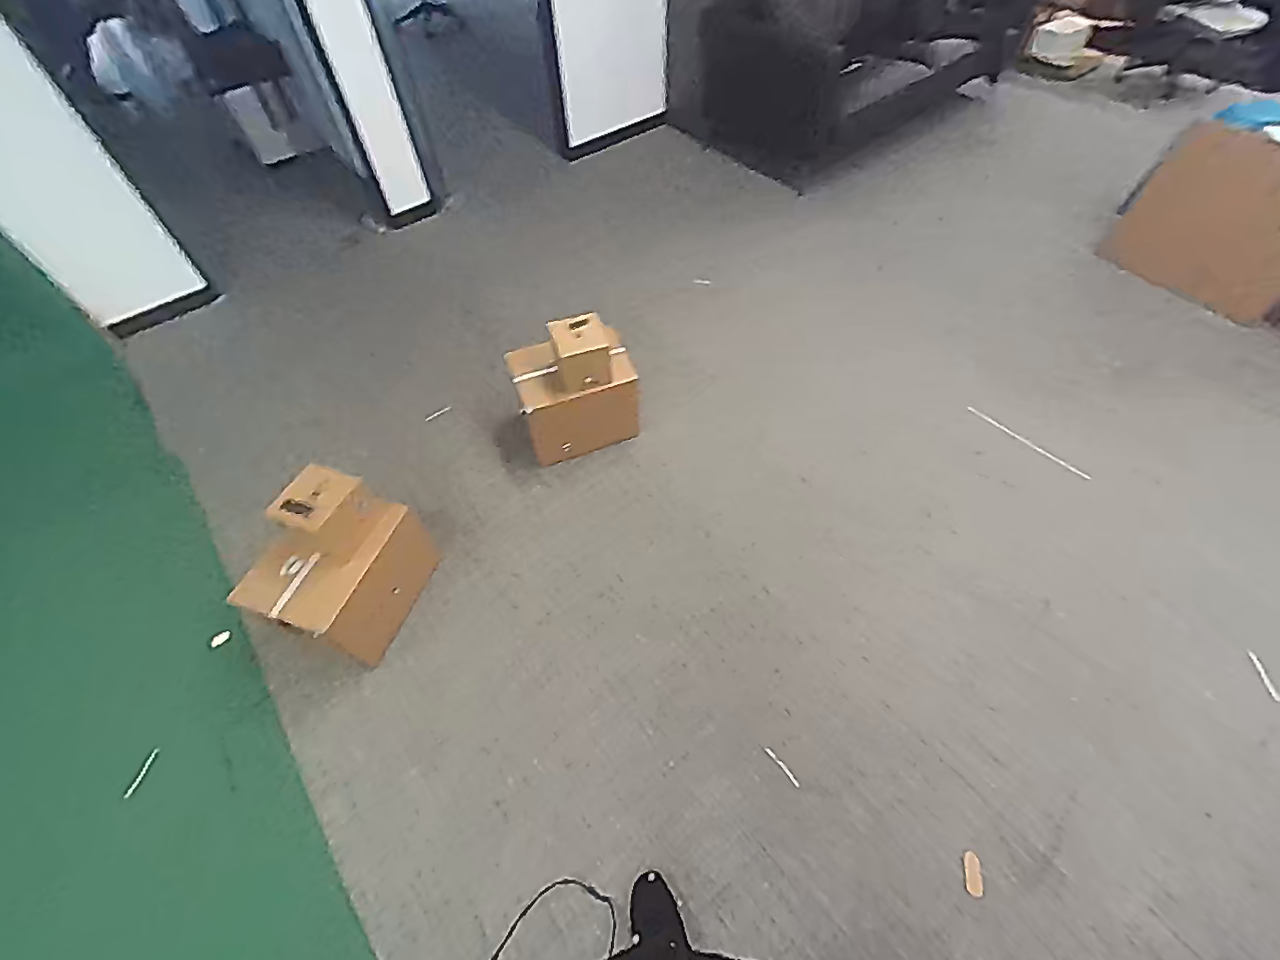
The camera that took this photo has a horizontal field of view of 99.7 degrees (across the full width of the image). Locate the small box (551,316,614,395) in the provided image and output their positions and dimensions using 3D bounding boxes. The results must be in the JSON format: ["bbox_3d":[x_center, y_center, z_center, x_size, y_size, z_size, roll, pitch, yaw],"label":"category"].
[{"bbox_3d":[-0.190,-0.415,1.807,0.168,0.176,0.179,-16,57,-10],"label":"small box"}]

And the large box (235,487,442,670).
[{"bbox_3d":[-0.863,0.293,1.620,0.320,0.320,0.408,13,57,12],"label":"large box"}]
